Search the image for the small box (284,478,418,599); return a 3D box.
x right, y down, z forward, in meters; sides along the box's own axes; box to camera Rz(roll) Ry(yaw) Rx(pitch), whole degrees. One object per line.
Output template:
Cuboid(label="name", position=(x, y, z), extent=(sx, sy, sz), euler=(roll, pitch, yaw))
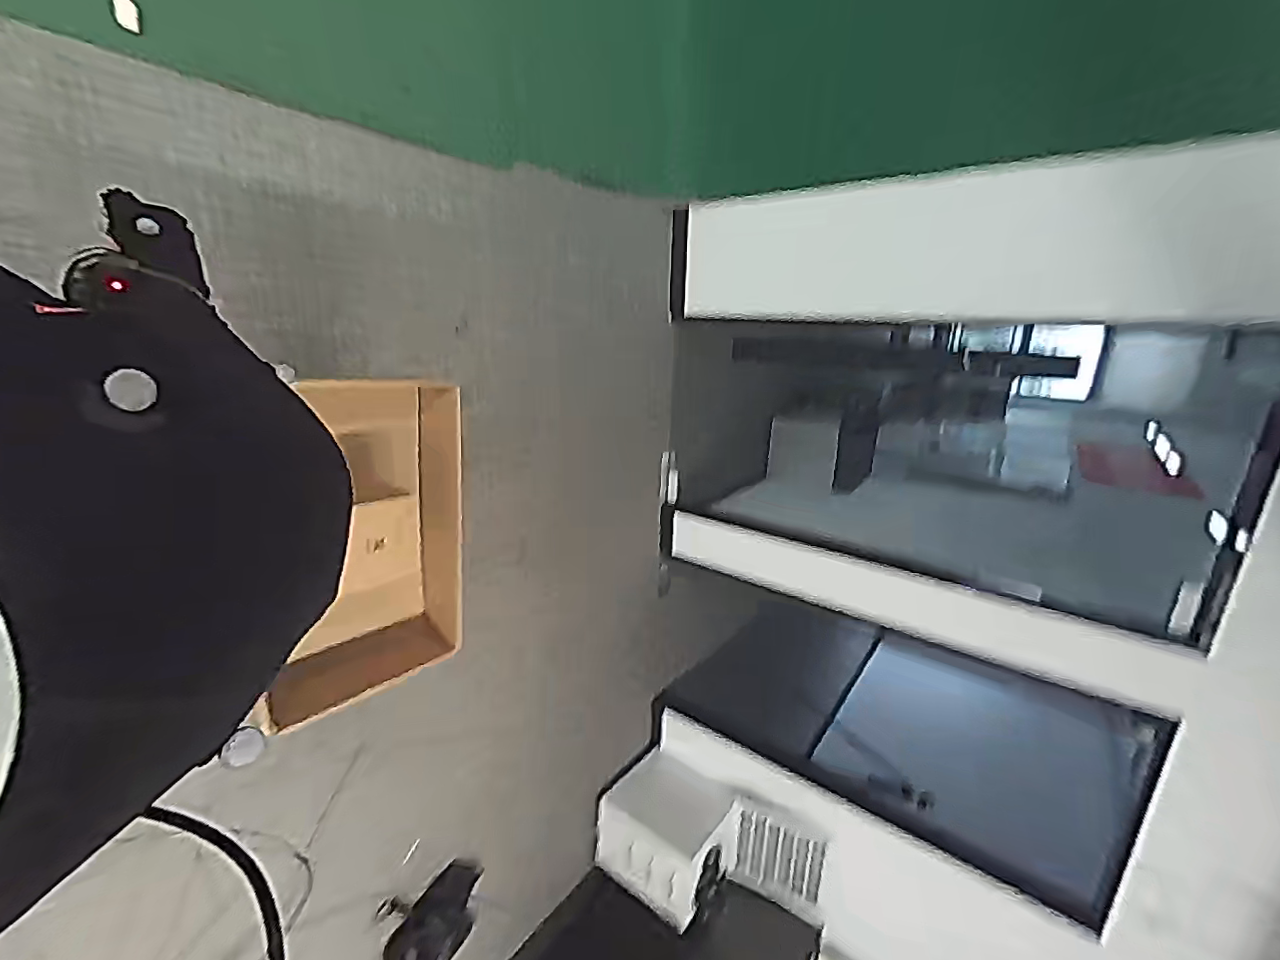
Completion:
Cuboid(label="small box", position=(-0.553, 0.102, 1.033), extent=(0.179, 0.176, 0.168), euler=(-17, 116, -54))
